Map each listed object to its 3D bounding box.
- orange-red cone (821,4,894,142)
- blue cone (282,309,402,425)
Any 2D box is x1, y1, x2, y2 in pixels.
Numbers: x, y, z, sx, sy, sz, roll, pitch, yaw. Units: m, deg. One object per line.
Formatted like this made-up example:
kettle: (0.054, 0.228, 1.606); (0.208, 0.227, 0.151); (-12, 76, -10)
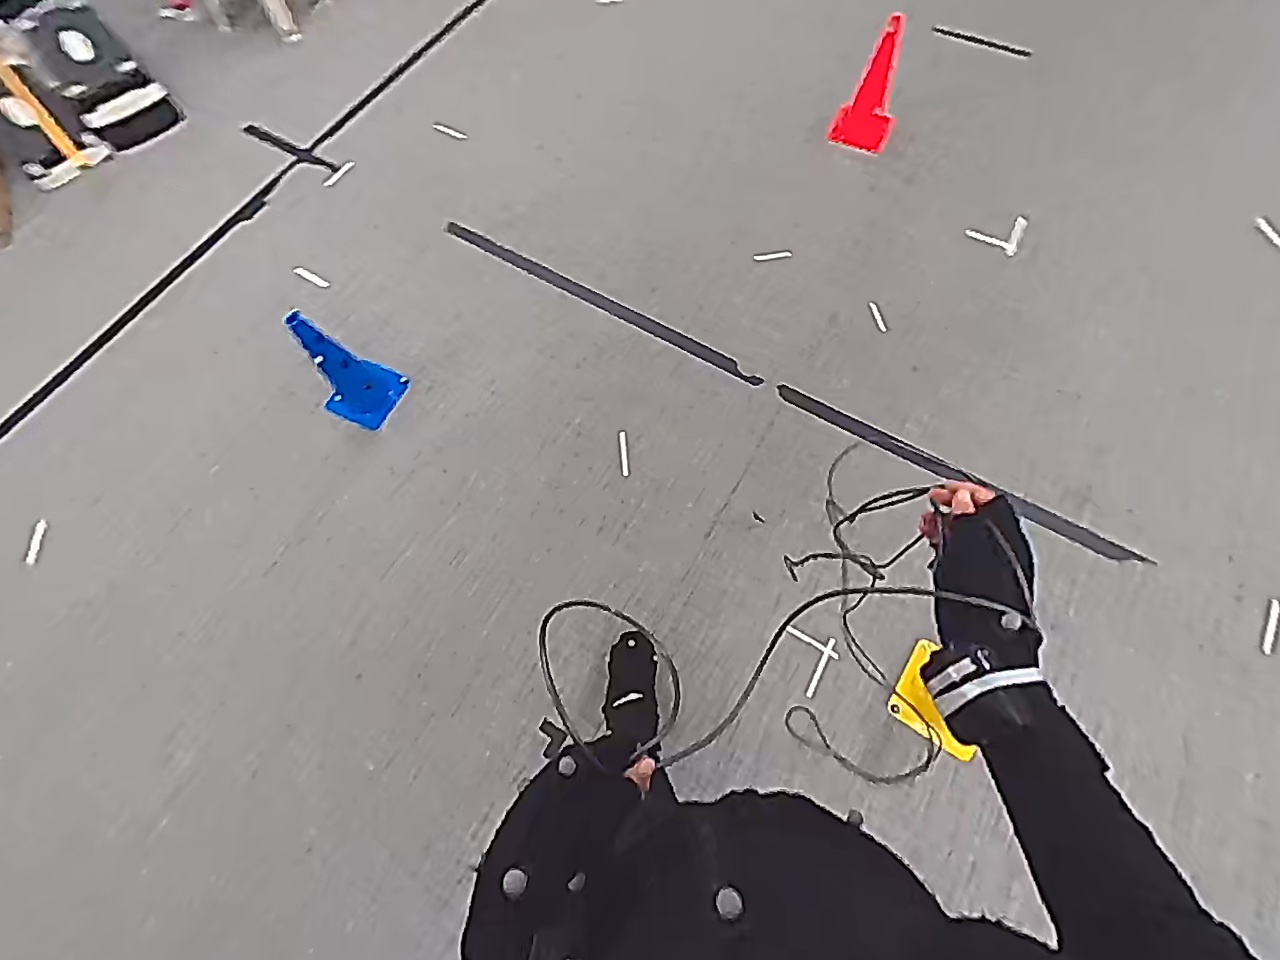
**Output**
orange-red cone: (0.768, -1.378, 1.814); (0.199, 0.360, 0.198); (24, 71, 14)
blue cone: (-0.851, -0.325, 1.487); (0.193, 0.380, 0.192); (23, 71, 12)
